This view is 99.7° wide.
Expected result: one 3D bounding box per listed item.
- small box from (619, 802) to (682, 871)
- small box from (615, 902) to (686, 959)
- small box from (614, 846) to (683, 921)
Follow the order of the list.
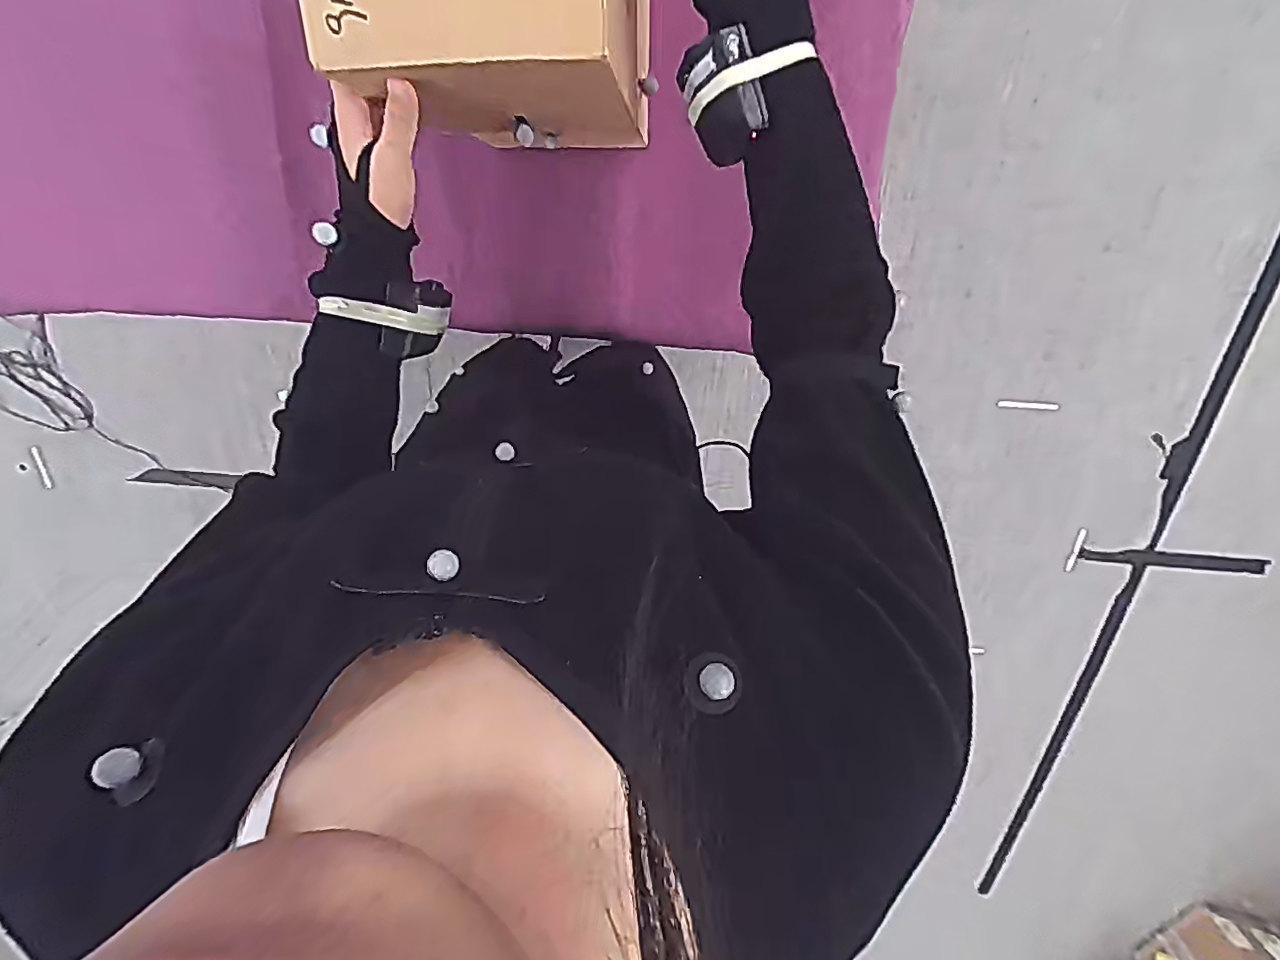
[{"bbox_3d":[0.043,1.346,2.010,0.168,0.176,0.179,-35,107,16],"label":"small box"},{"bbox_3d":[0.030,1.481,1.713,0.168,0.176,0.179,-37,108,17],"label":"small box"},{"bbox_3d":[0.035,1.413,1.862,0.168,0.176,0.179,-36,106,16],"label":"small box"}]
